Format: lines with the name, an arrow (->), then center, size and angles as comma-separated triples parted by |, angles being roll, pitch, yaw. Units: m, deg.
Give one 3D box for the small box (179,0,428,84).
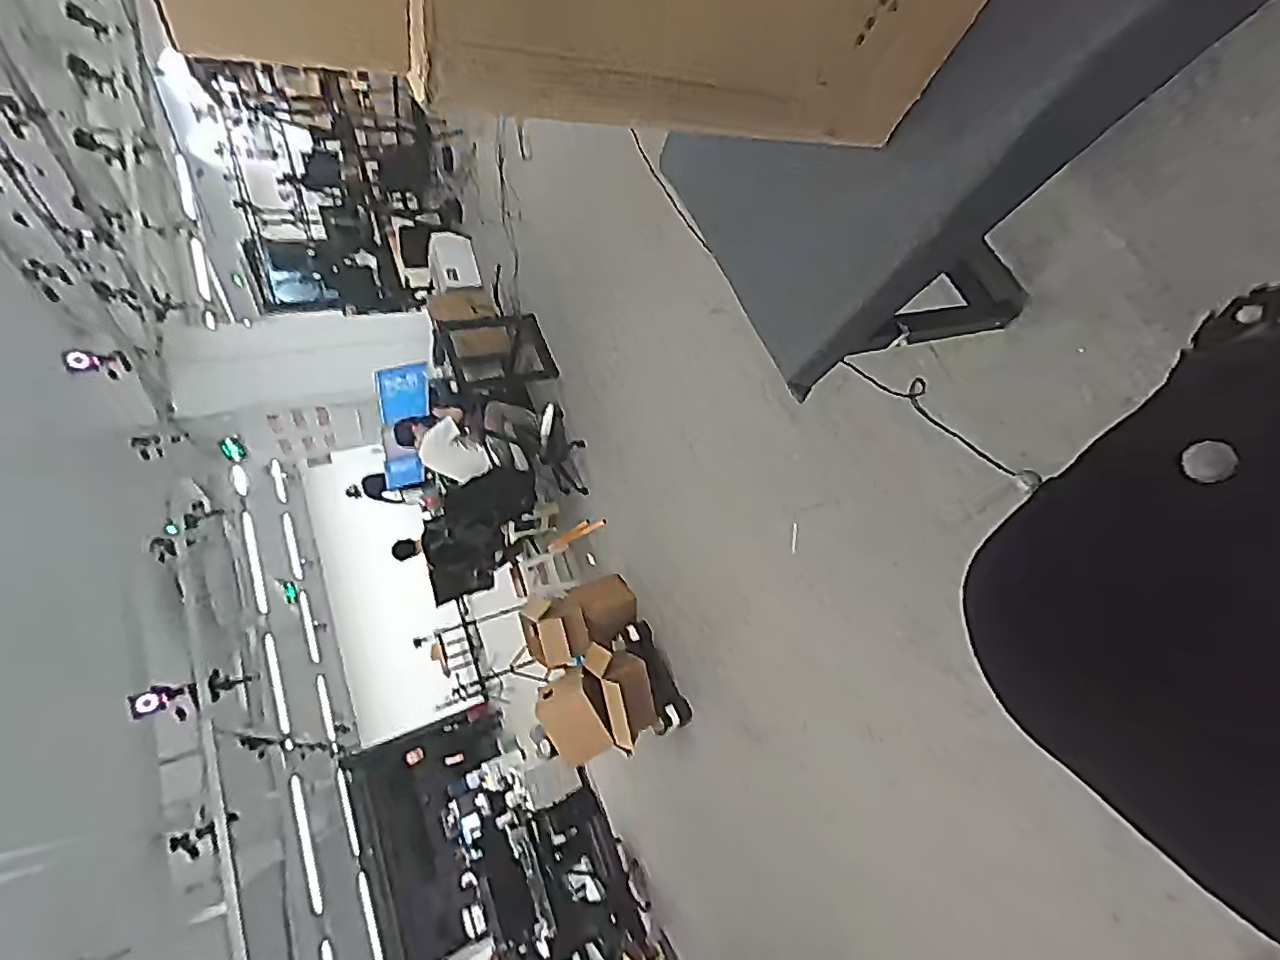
small box -> -0.264, -0.435, 0.399 | 0.168, 0.176, 0.179 | 62, 149, 20
